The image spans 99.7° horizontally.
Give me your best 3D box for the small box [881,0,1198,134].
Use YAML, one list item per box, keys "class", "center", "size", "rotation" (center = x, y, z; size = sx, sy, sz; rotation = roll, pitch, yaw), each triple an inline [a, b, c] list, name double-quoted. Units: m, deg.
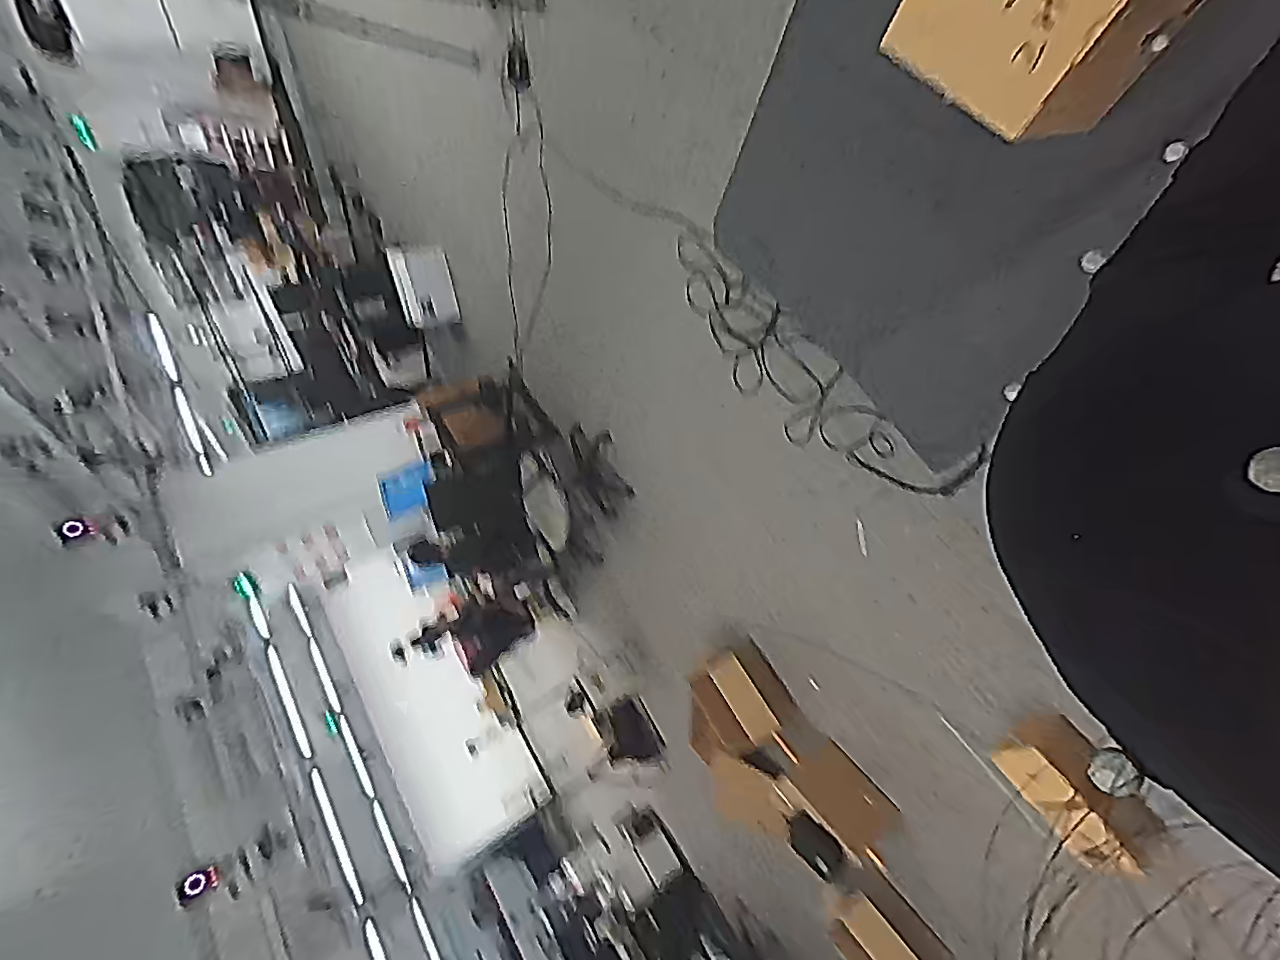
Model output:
- class: "small box"
  center: [0.370, -0.444, 0.486]
  size: [0.179, 0.176, 0.168]
  rotation: [55, 150, 20]
